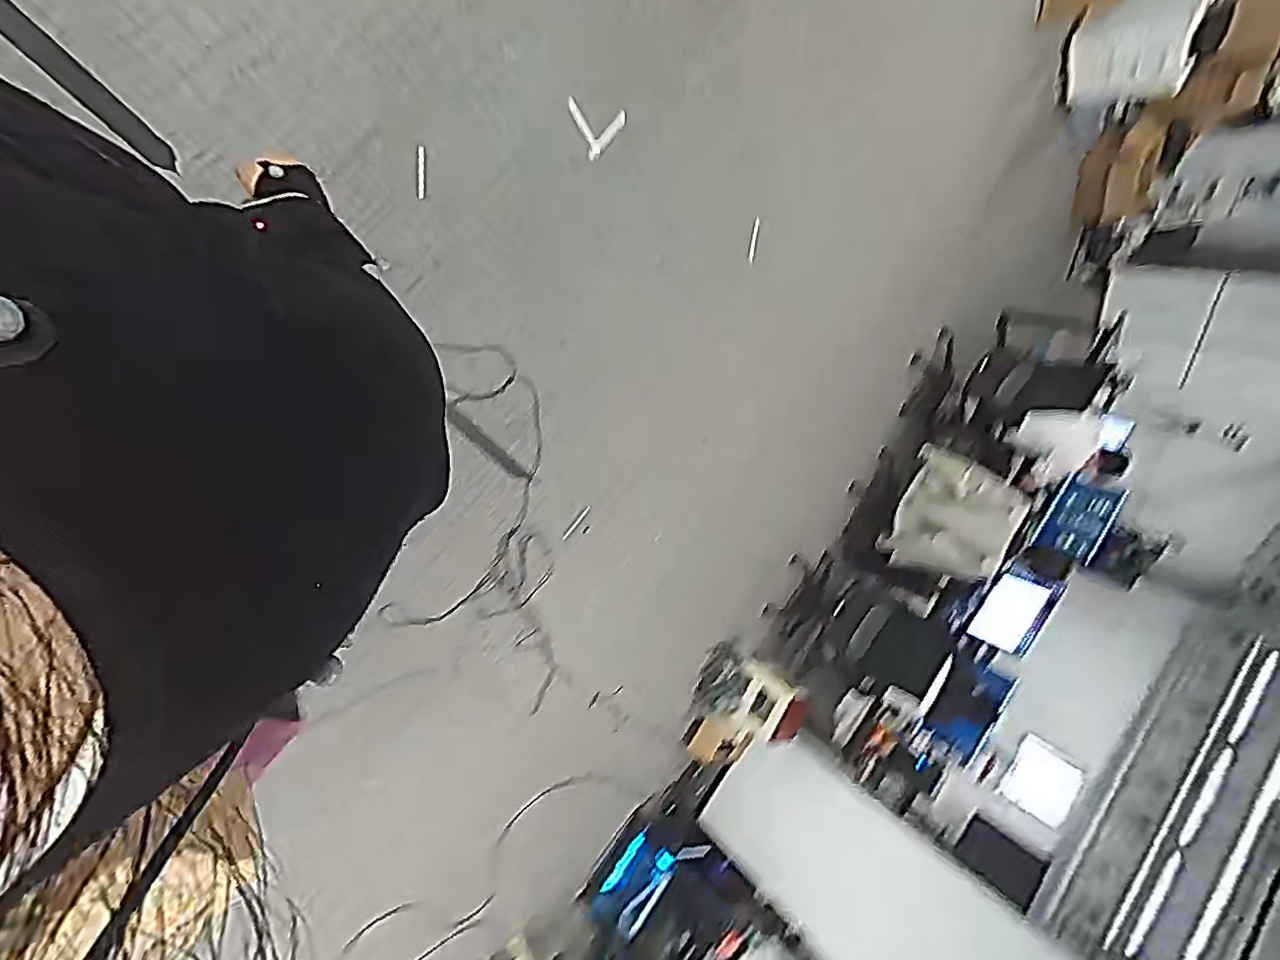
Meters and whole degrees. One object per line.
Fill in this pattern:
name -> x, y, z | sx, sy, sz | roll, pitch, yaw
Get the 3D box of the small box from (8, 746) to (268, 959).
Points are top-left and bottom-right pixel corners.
small box -> -0.616, 0.467, 0.671 | 0.179, 0.176, 0.168 | -52, 136, -11
